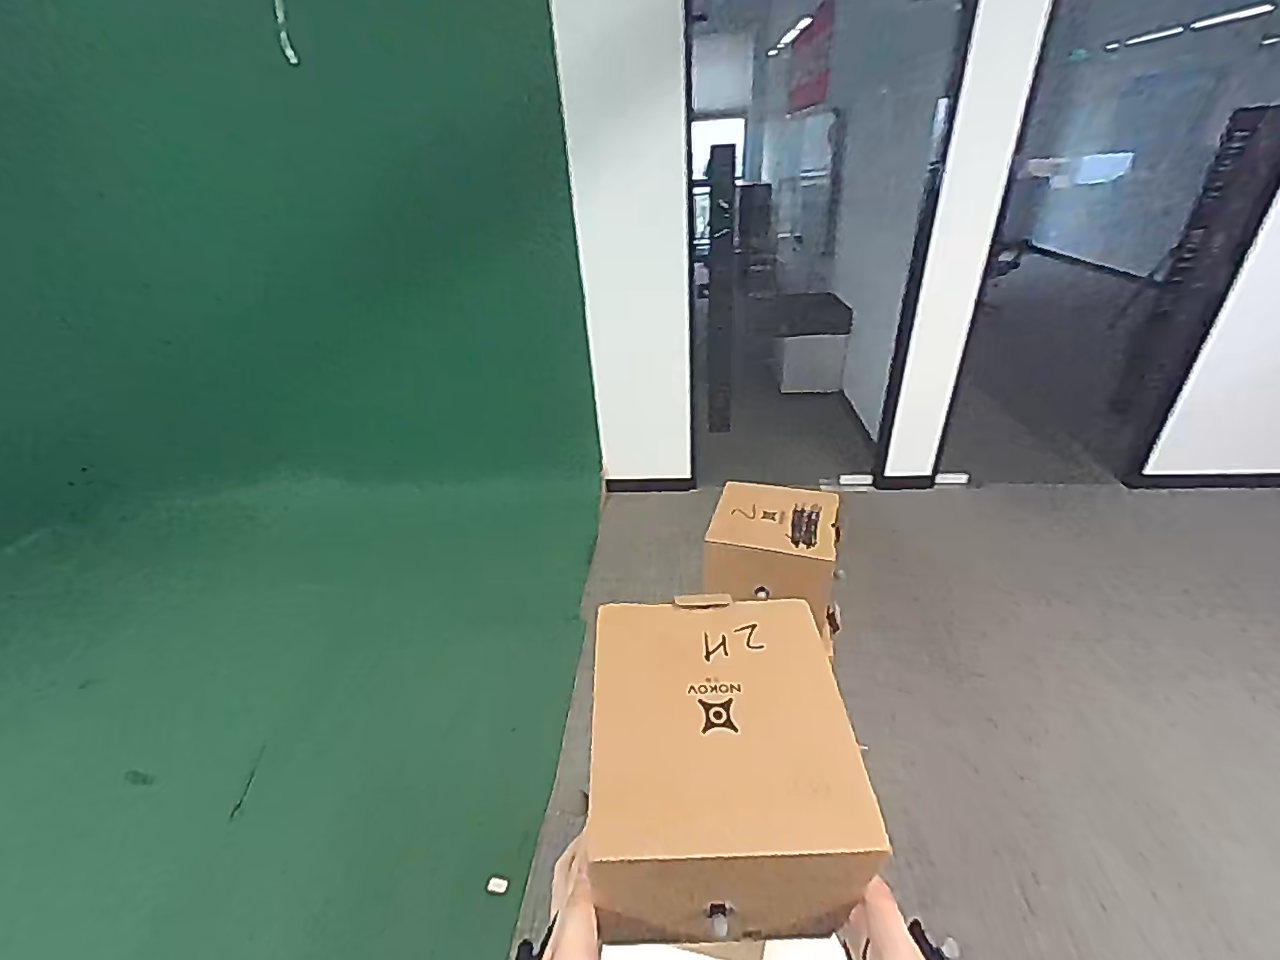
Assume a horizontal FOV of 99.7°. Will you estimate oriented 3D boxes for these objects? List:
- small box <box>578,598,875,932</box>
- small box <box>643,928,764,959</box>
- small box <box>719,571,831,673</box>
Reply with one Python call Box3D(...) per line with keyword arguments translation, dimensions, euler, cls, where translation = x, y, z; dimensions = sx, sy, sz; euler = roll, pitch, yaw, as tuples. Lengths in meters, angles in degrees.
Box3D(translation=(0.048, 0.212, 0.405), dimensions=(0.168, 0.176, 0.179), euler=(-1, 37, -1), cls="small box")
Box3D(translation=(0.093, 0.547, 0.778), dimensions=(0.179, 0.176, 0.168), euler=(5, 31, 12), cls="small box")
Box3D(translation=(0.216, 0.276, 0.902), dimensions=(0.179, 0.176, 0.168), euler=(5, 32, 13), cls="small box")
